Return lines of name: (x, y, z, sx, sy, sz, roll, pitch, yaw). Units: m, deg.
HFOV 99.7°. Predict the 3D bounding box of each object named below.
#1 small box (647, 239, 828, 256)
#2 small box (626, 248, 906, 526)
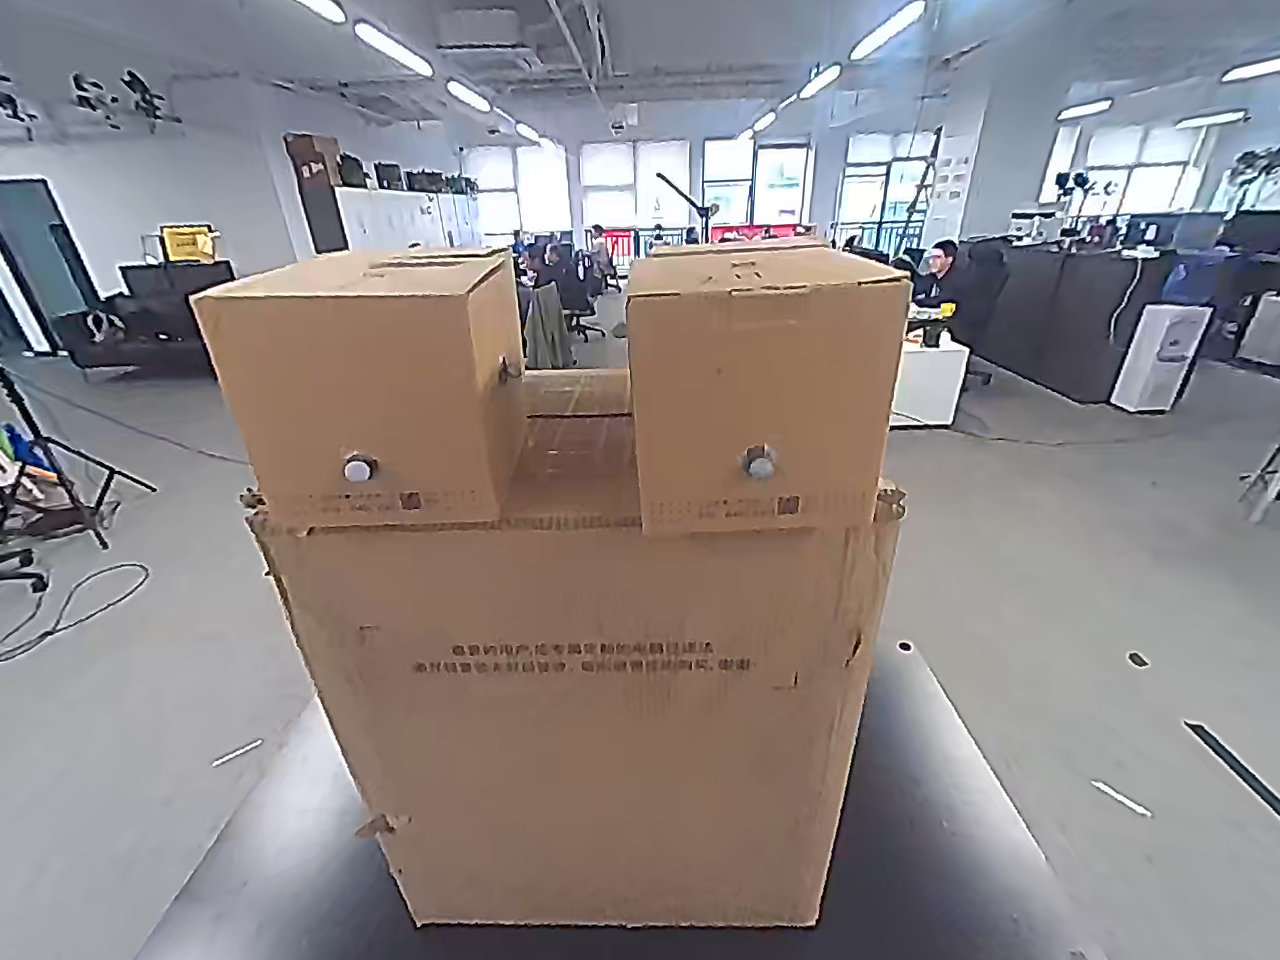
small box: (0.096, -0.168, 0.594, 0.168, 0.176, 0.179, -1, 26, 5)
small box: (0.078, -0.080, 0.424, 0.168, 0.176, 0.179, -3, 29, 2)
